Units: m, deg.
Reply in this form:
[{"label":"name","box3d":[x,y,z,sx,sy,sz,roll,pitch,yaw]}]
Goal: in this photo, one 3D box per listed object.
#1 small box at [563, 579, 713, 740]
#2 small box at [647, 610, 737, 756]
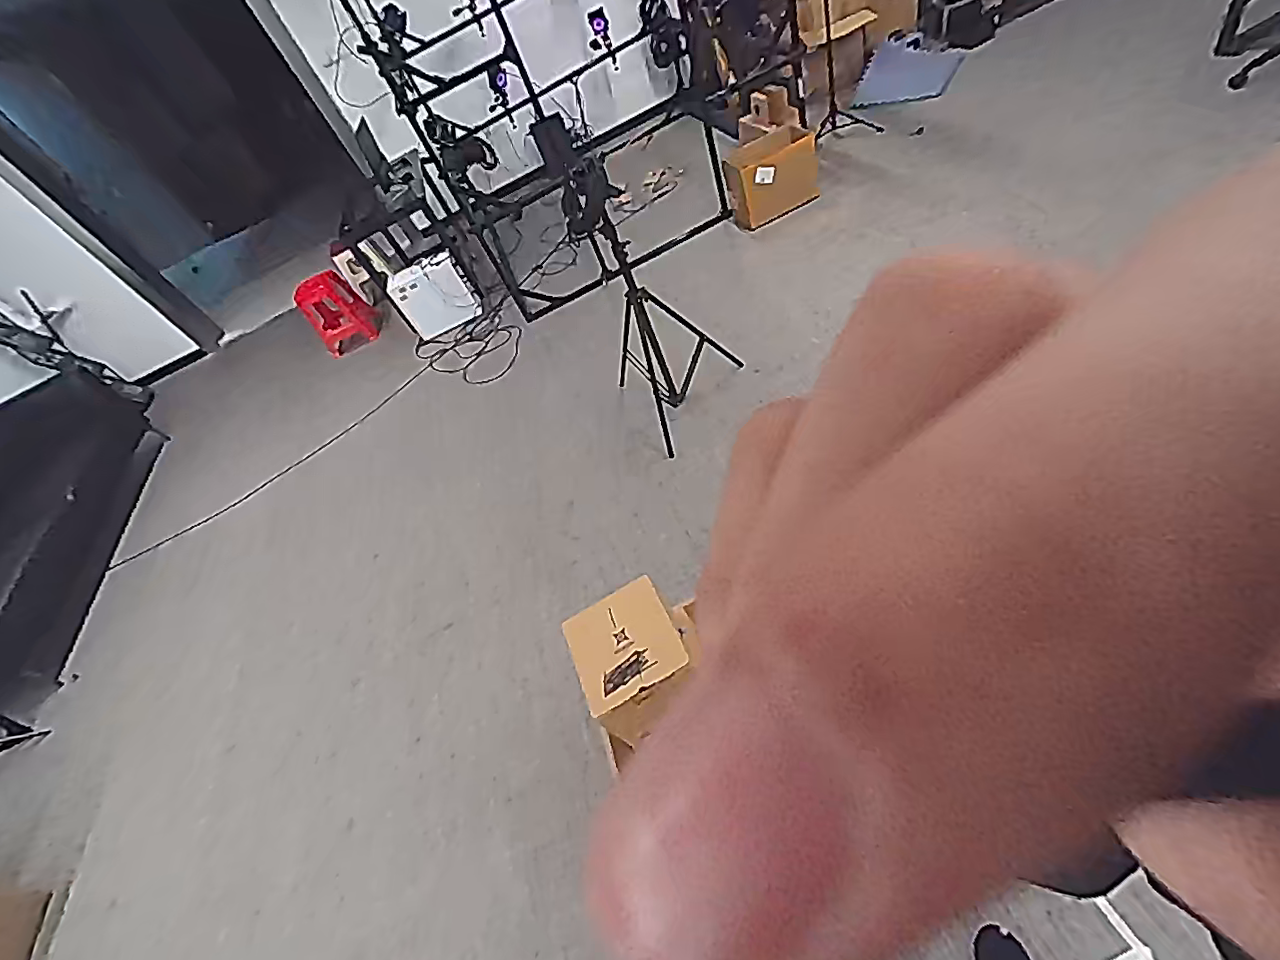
[{"label":"small box","box3d":[0.001,0.302,0.889,0.168,0.176,0.179,-30,46,-1]},{"label":"small box","box3d":[0.062,0.385,1.019,0.168,0.176,0.179,-28,47,1]}]
